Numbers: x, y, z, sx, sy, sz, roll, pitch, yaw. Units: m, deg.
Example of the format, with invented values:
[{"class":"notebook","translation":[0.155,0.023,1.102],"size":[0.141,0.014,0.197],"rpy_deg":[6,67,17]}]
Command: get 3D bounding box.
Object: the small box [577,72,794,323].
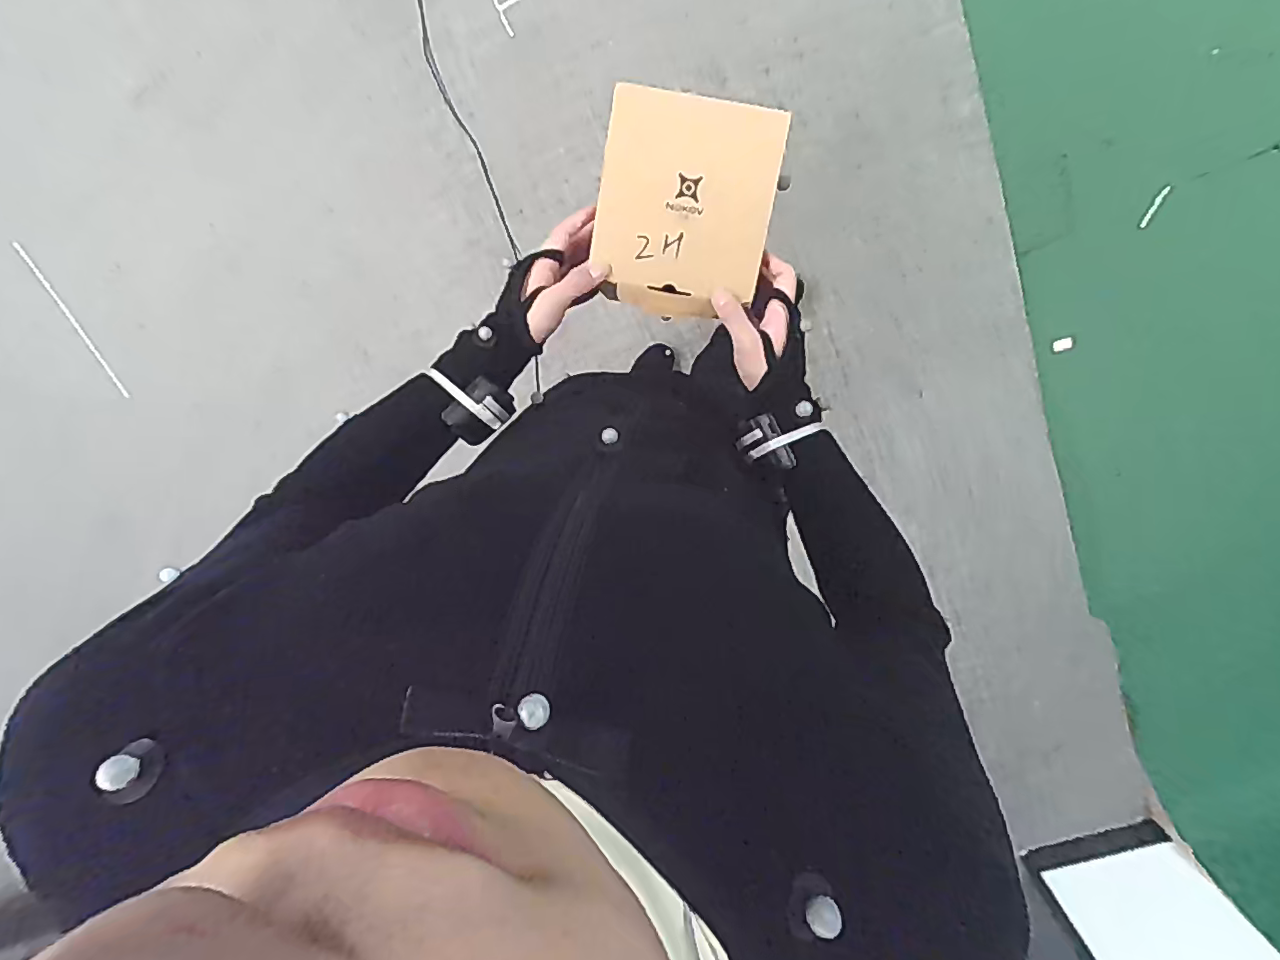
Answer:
[{"class":"small box","translation":[0.045,-0.283,0.585],"size":[0.168,0.176,0.179],"rpy_deg":[17,103,1]}]
